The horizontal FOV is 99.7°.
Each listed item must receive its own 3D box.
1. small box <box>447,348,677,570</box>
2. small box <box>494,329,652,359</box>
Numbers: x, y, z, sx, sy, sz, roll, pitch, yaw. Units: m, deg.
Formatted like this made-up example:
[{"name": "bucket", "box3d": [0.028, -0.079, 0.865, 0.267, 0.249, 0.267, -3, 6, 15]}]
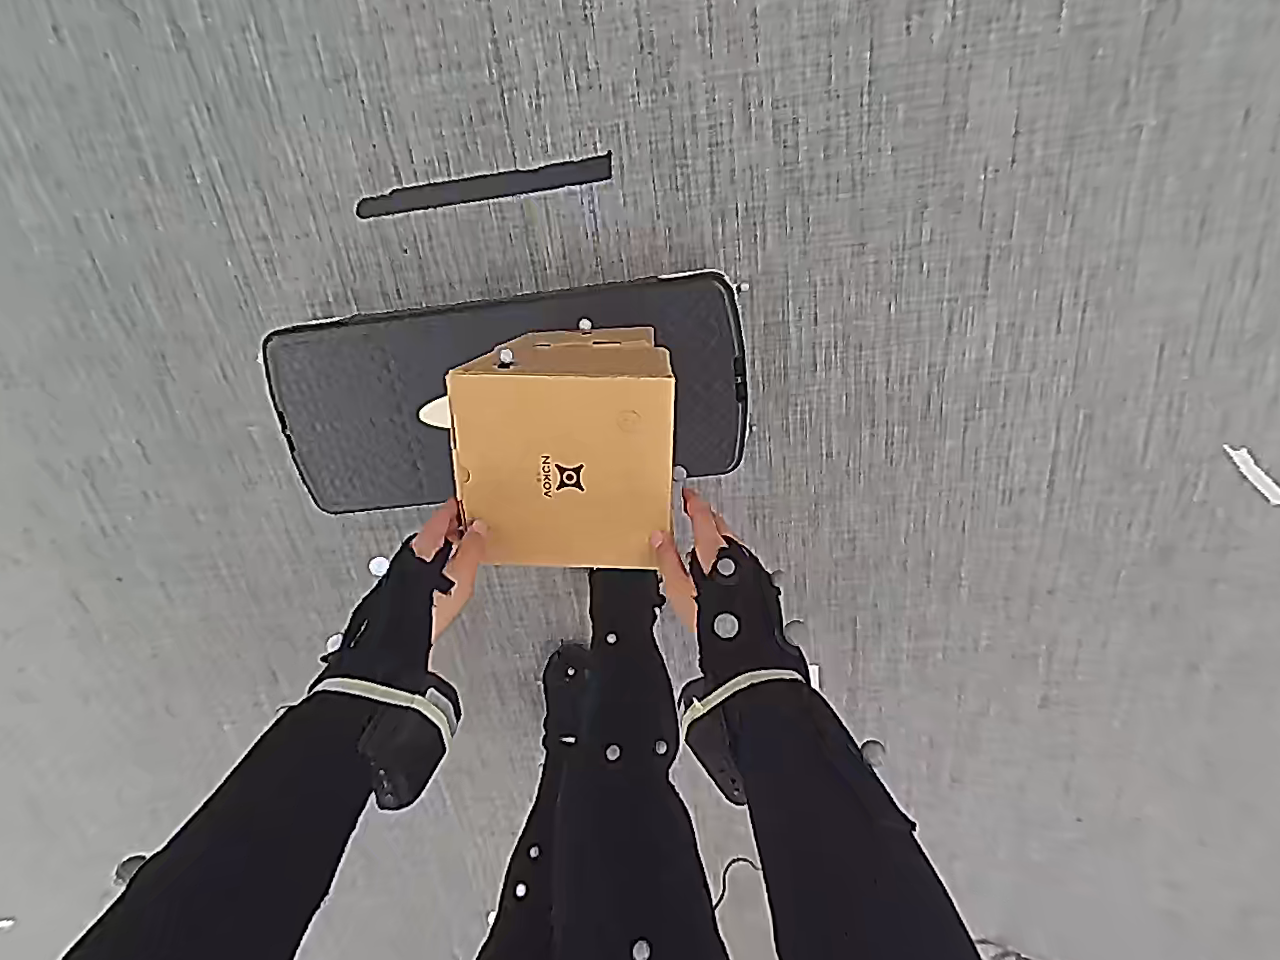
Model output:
[{"name": "small box", "box3d": [-0.058, -0.031, 0.507, 0.179, 0.176, 0.168, 1, 111, 2]}, {"name": "small box", "box3d": [-0.065, -0.085, 0.660, 0.168, 0.176, 0.179, -2, 110, 2]}]
